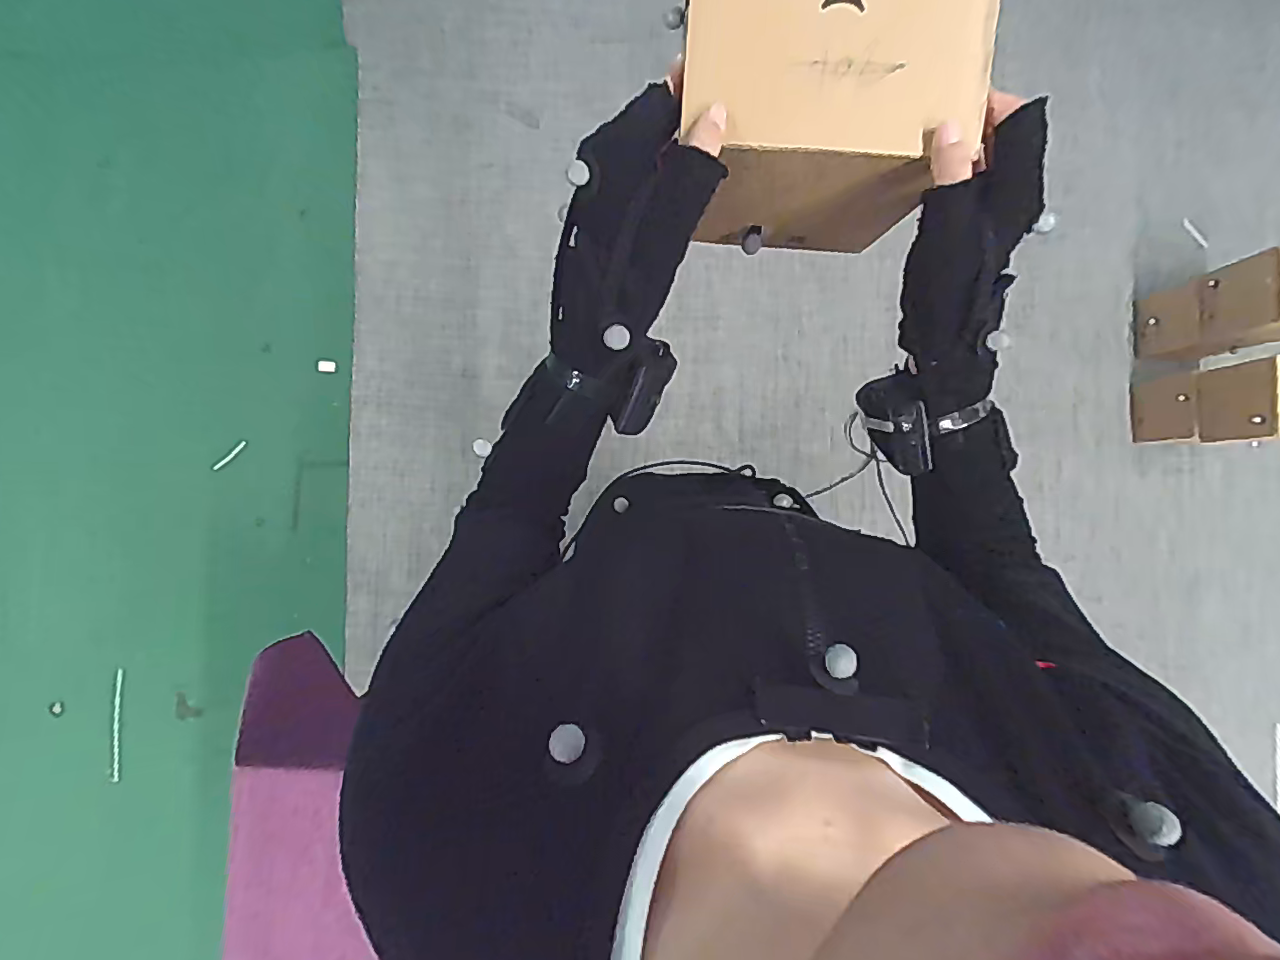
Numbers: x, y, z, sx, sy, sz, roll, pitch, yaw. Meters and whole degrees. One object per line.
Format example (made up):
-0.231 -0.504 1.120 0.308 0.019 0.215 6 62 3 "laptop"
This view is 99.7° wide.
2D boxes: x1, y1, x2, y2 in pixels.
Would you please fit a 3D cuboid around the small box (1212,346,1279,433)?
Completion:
1.414 -0.200 1.181 0.168 0.176 0.179 -2 91 3 "small box"

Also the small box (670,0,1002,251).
0.111 -0.275 0.366 0.168 0.176 0.179 5 99 0 "small box"

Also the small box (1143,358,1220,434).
1.415 -0.206 1.344 0.179 0.176 0.168 -1 90 2 "small box"
